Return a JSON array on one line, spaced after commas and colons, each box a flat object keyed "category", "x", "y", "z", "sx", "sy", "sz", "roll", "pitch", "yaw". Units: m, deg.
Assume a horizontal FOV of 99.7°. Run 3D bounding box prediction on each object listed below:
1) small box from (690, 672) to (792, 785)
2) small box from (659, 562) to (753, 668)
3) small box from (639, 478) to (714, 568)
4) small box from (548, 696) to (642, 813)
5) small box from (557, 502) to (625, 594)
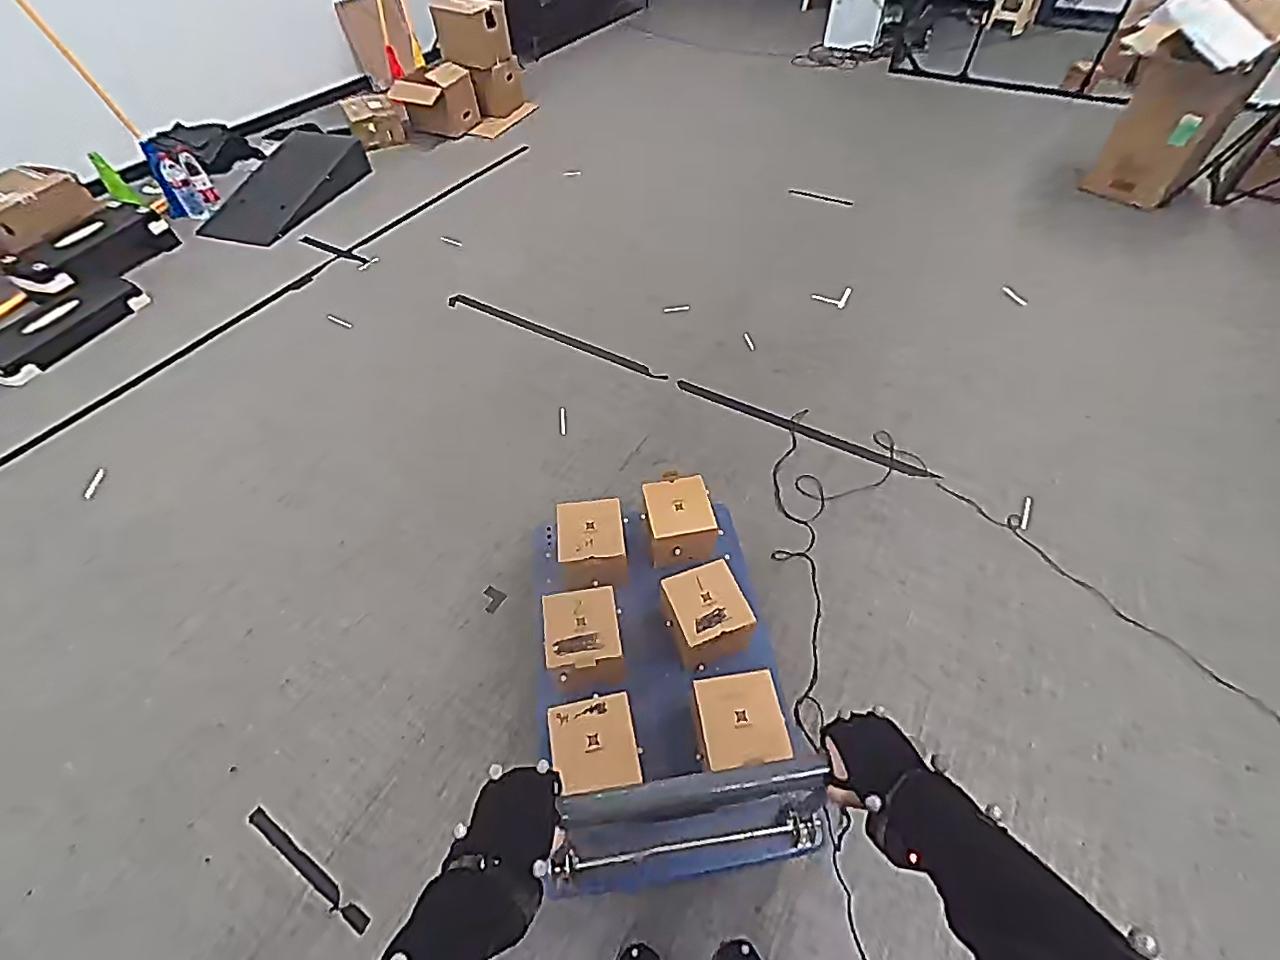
[{"category": "small box", "x": 0.204, "y": 0.531, "z": 1.145, "sx": 0.168, "sy": 0.176, "sz": 0.179, "roll": -7, "pitch": 51, "yaw": -5}, {"category": "small box", "x": 0.153, "y": 0.332, "z": 1.301, "sx": 0.168, "sy": 0.176, "sz": 0.179, "roll": -17, "pitch": 52, "yaw": -12}, {"category": "small box", "x": 0.096, "y": 0.124, "z": 1.468, "sx": 0.168, "sy": 0.176, "sz": 0.179, "roll": -10, "pitch": 52, "yaw": -6}, {"category": "small box", "x": -0.090, "y": 0.572, "z": 1.117, "sx": 0.168, "sy": 0.176, "sz": 0.179, "roll": -10, "pitch": 53, "yaw": -7}, {"category": "small box", "x": -0.128, "y": 0.180, "z": 1.425, "sx": 0.168, "sy": 0.176, "sz": 0.179, "roll": -6, "pitch": 53, "yaw": -3}]
